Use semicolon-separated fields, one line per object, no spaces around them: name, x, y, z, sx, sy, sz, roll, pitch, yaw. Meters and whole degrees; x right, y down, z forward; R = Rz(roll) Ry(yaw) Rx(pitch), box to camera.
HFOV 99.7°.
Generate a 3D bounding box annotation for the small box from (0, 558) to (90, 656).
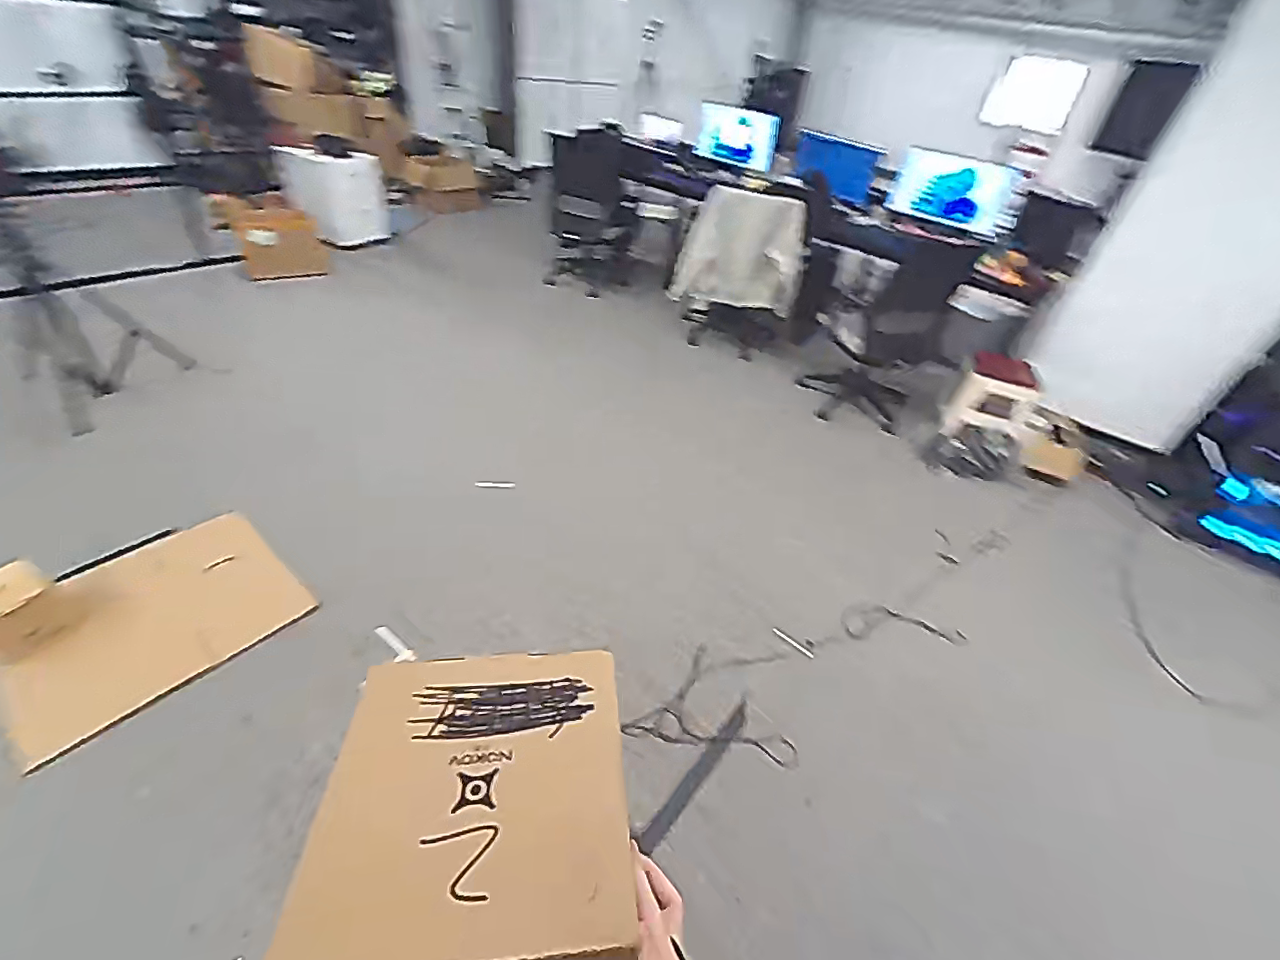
small box;-1.711;0.356;1.507;0.179;0.176;0.168;25;43;19
